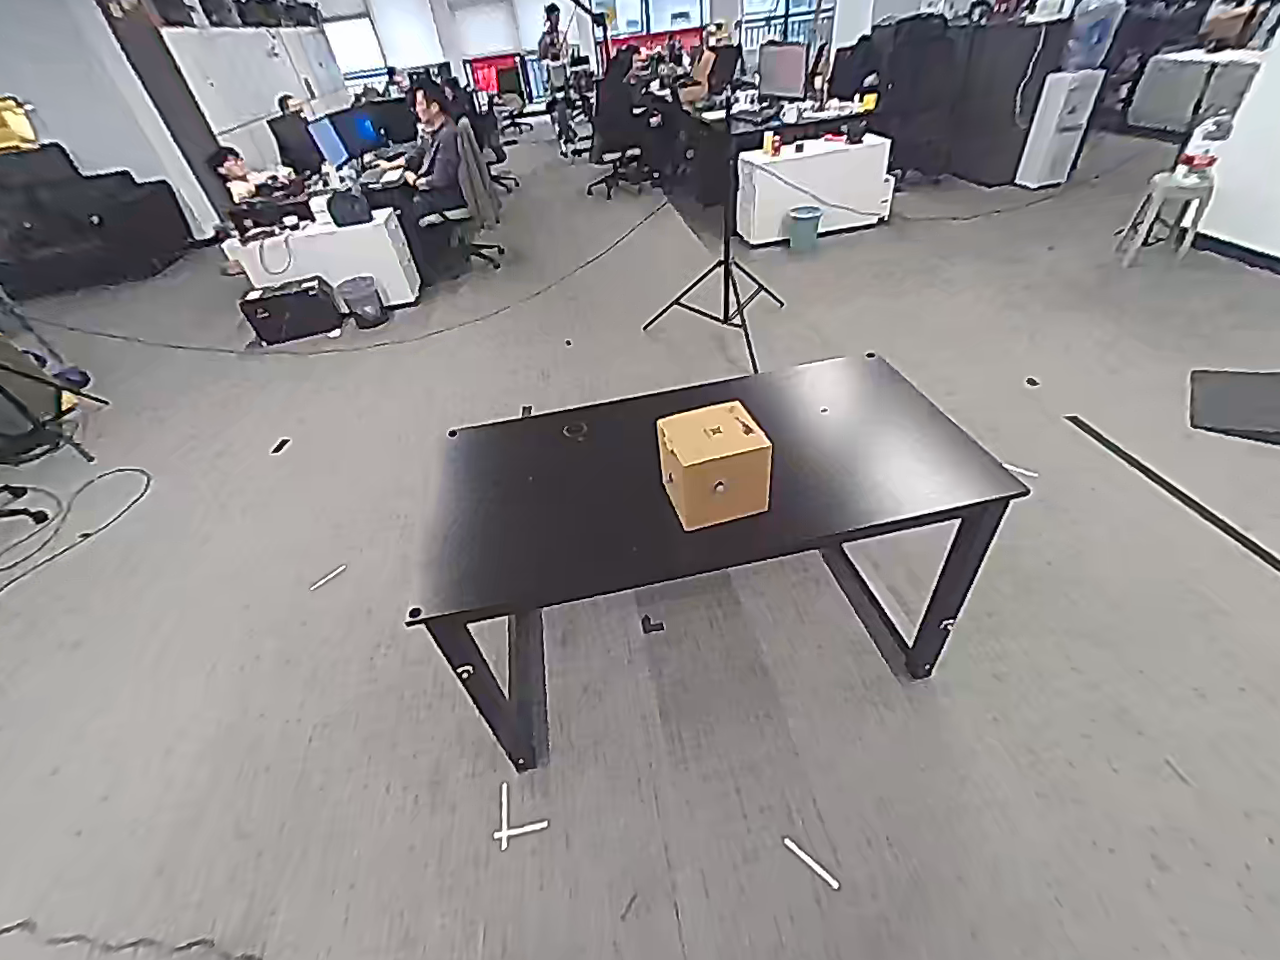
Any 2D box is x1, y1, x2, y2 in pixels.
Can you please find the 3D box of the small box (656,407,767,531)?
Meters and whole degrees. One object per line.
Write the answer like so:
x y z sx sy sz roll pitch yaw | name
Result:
0.144 -0.020 1.089 0.179 0.176 0.168 -15 40 -7 | small box
